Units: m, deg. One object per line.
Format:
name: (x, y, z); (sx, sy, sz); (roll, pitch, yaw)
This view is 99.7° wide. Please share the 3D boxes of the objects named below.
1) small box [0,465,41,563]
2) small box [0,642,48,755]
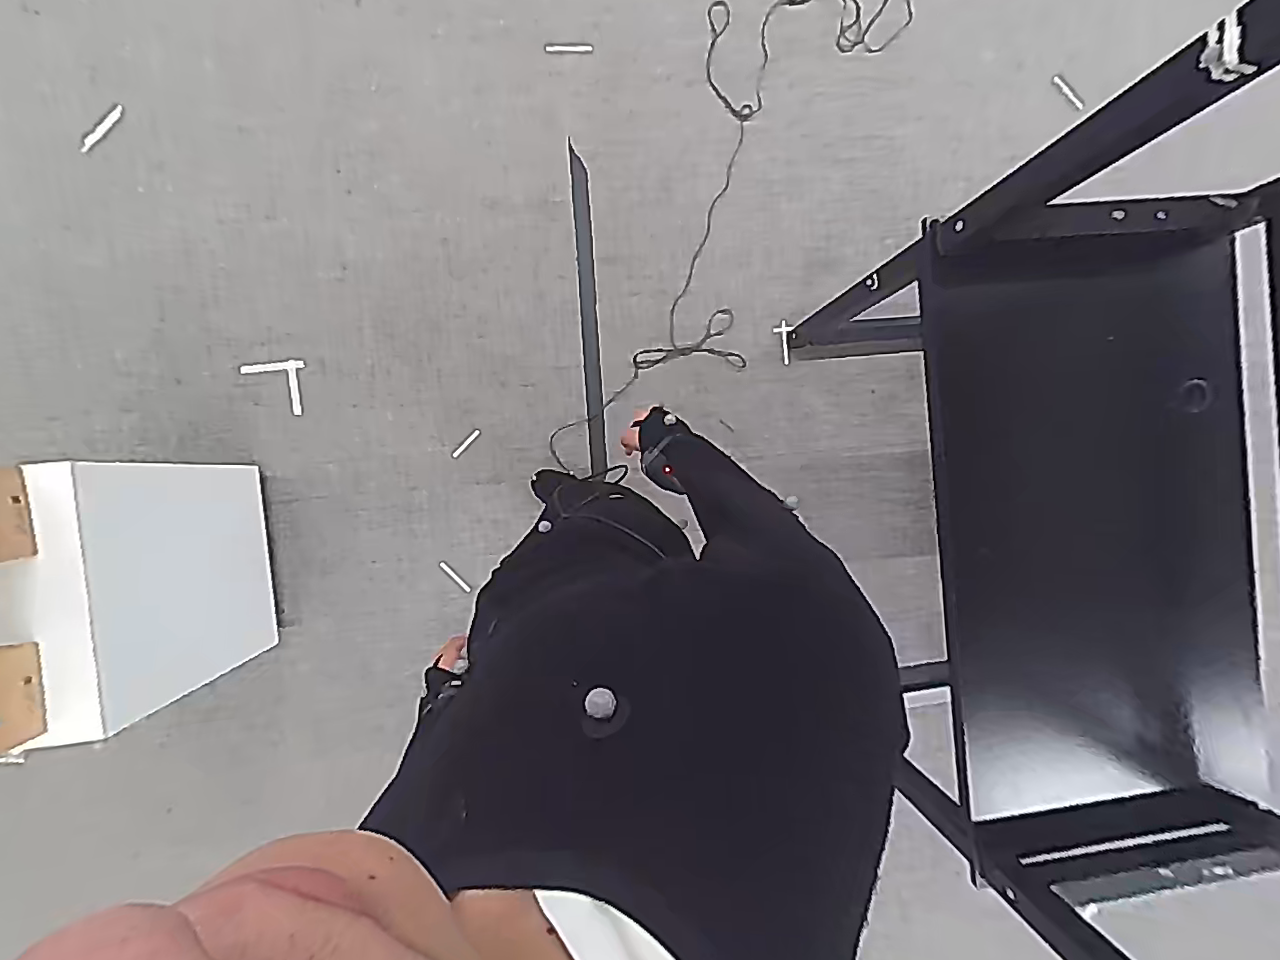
small box: (-1.149, 0.067, 0.870); (0.179, 0.176, 0.168); (-8, 93, -4)
small box: (-1.132, 0.375, 0.881); (0.179, 0.176, 0.168); (-5, 91, -4)
